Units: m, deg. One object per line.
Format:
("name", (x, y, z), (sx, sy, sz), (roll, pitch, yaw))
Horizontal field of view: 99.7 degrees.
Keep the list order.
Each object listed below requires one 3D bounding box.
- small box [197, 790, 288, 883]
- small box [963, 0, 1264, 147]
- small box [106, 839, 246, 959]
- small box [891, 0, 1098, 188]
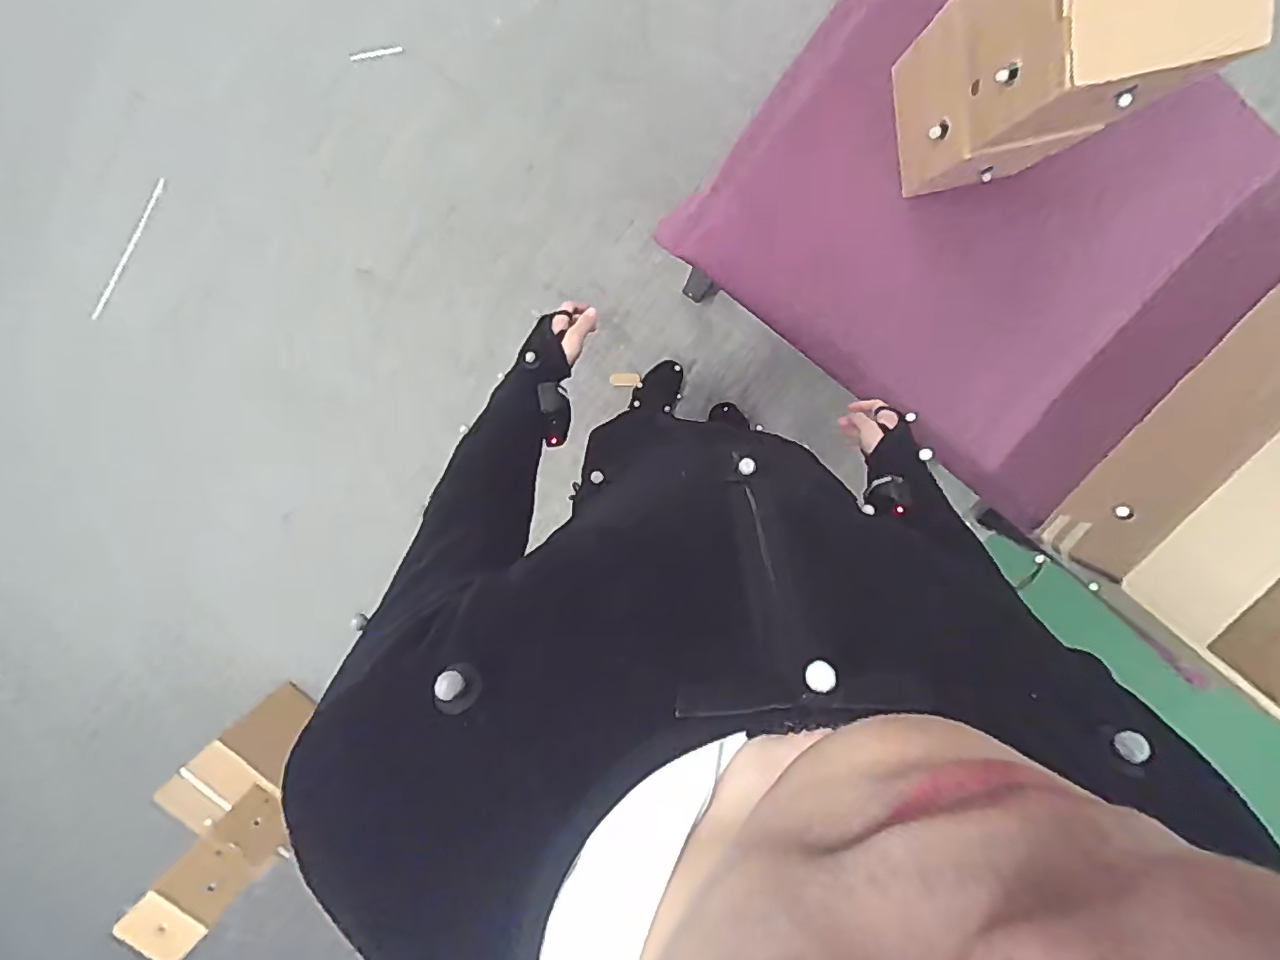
("small box", (-1.121, 1.008, 1.491), (0.168, 0.176, 0.179), (44, 98, -7))
("small box", (0.452, -0.465, 0.545), (0.179, 0.176, 0.168), (-10, 104, 3))
("small box", (-1.125, 1.039, 1.331), (0.168, 0.176, 0.179), (43, 100, -8))
("small box", (0.448, -0.501, 0.704), (0.168, 0.176, 0.179), (-11, 102, 3))
